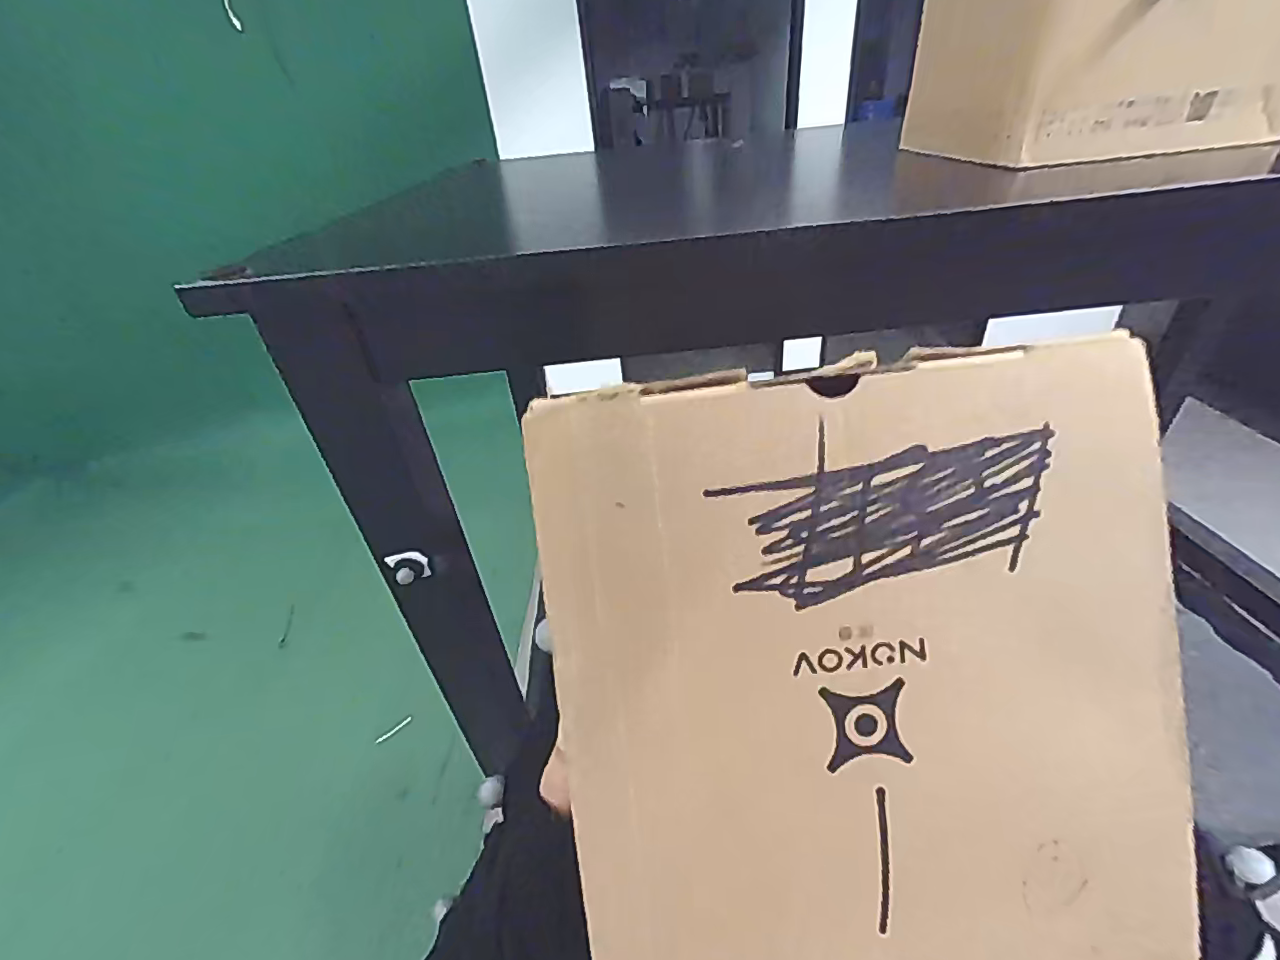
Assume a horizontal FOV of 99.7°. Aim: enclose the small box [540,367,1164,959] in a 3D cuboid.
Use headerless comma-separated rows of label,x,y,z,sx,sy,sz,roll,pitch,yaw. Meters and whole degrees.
small box,0.059,0.059,0.231,0.168,0.179,0.176,-6,3,0
